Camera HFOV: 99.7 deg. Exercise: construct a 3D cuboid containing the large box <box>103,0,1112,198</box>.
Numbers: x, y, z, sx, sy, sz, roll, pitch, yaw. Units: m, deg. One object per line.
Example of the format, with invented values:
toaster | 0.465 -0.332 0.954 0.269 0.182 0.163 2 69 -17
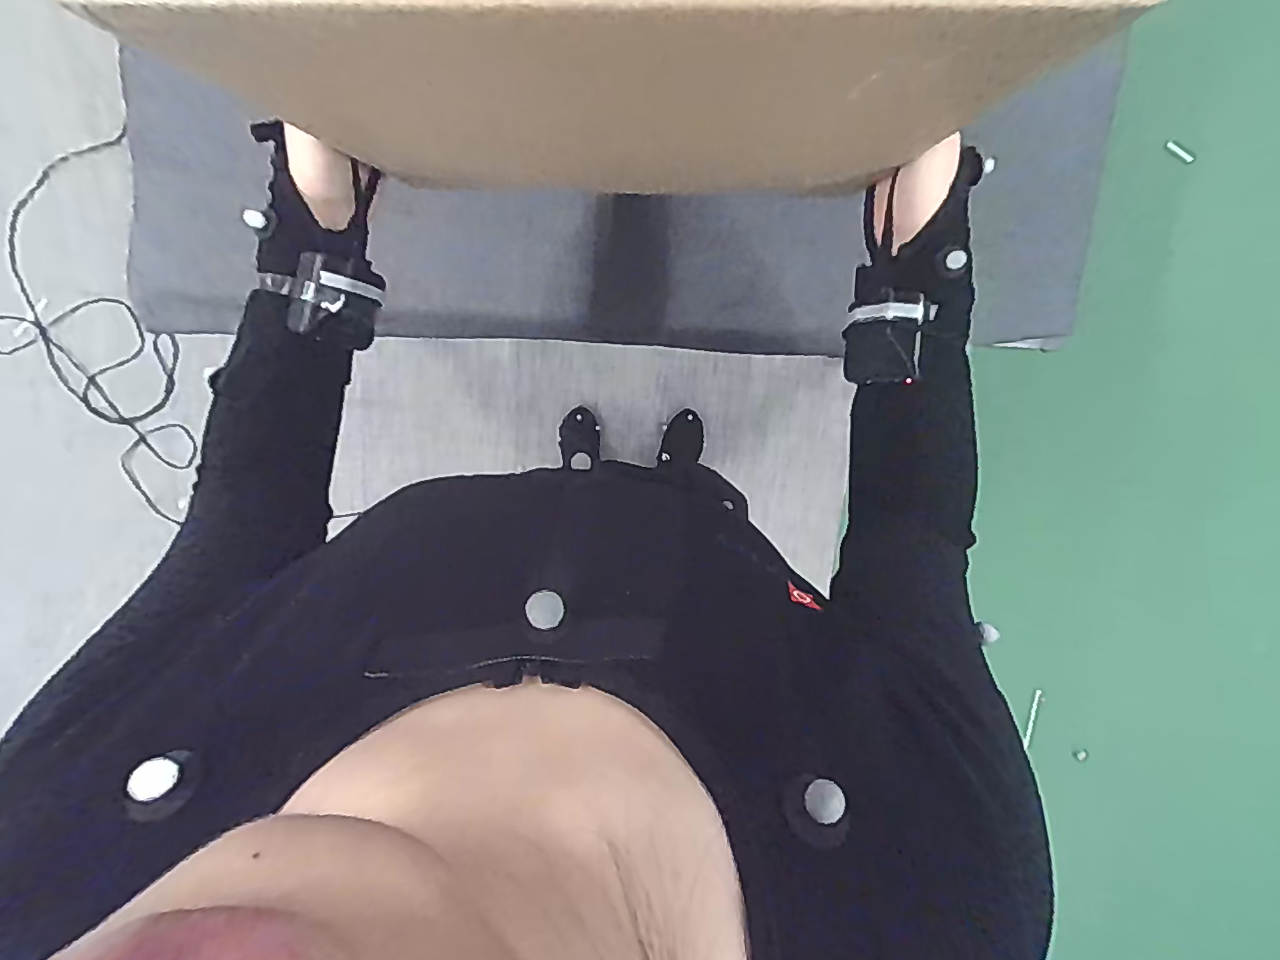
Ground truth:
large box | -0.013 -0.366 0.311 0.408 0.320 0.320 1 107 1
